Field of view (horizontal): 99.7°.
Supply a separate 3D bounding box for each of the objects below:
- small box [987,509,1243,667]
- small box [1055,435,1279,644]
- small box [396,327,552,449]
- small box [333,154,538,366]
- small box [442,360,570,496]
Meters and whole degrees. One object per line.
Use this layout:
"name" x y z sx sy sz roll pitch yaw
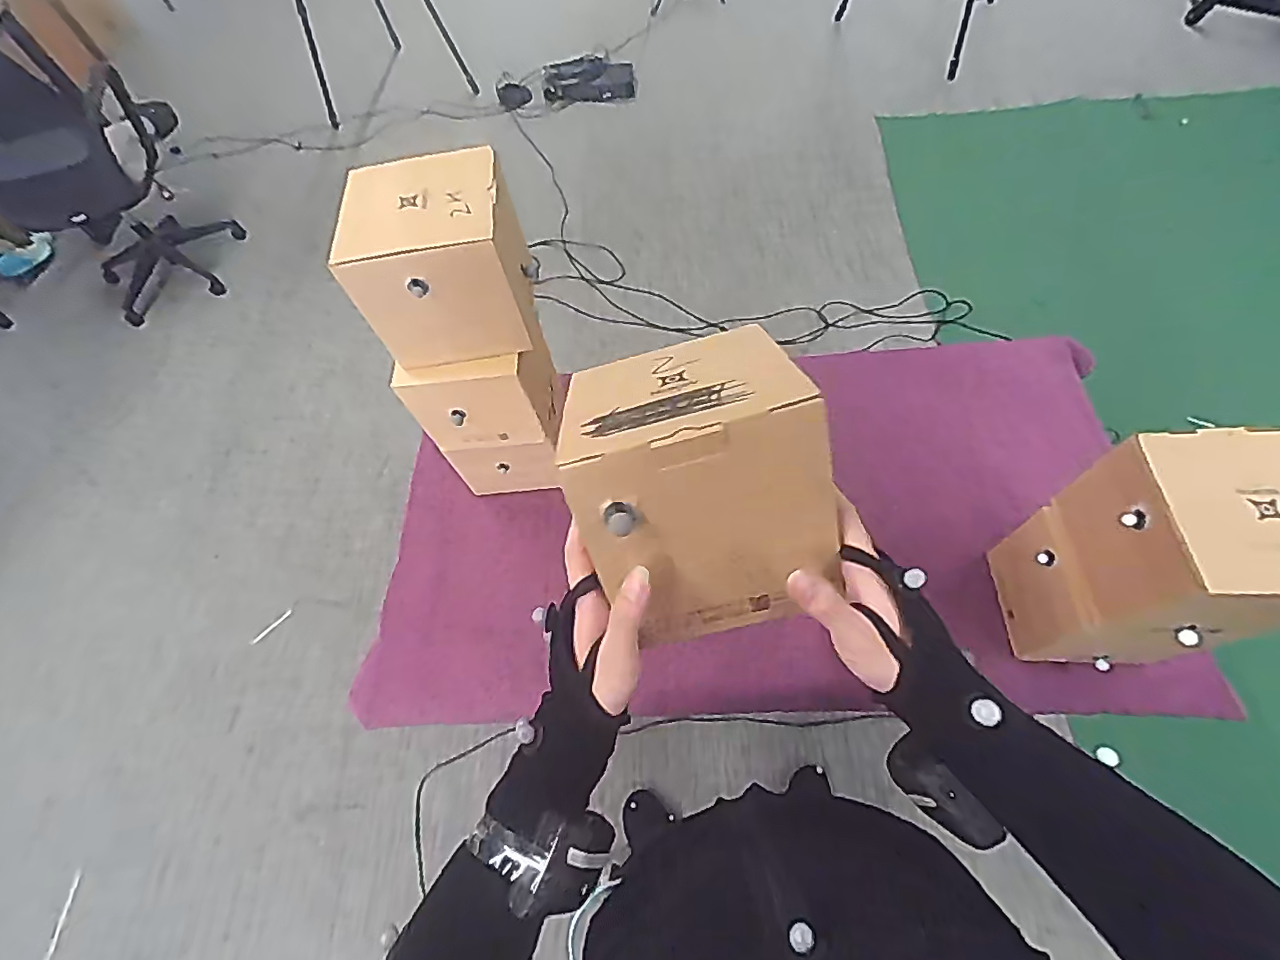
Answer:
"small box" 0.612 0.151 0.727 0.179 0.176 0.168 1 60 6
"small box" 0.599 0.068 0.586 0.168 0.176 0.179 -1 61 8
"small box" -0.229 -0.157 0.795 0.168 0.176 0.179 -5 61 3
"small box" -0.233 -0.258 0.663 0.179 0.176 0.168 -8 61 1
"small box" -0.220 -0.085 0.940 0.179 0.176 0.168 -6 62 3
